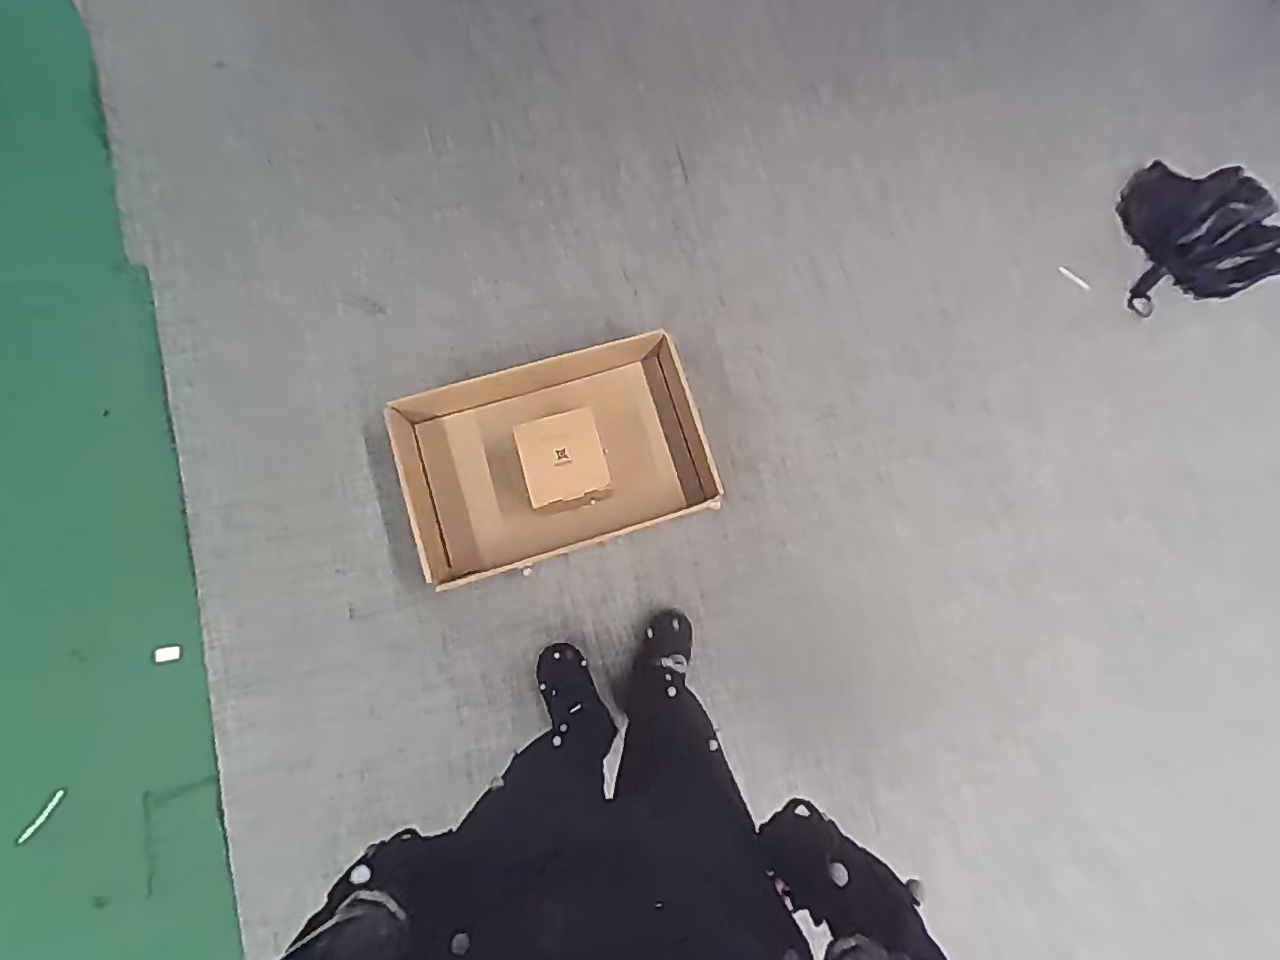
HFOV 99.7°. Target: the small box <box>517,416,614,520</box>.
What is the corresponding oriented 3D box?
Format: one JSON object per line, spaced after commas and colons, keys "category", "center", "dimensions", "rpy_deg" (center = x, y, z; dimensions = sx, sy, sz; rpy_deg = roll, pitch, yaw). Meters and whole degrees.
{"category": "small box", "center": [-0.153, -0.017, 1.164], "dimensions": [0.168, 0.176, 0.179], "rpy_deg": [-15, 80, -6]}
